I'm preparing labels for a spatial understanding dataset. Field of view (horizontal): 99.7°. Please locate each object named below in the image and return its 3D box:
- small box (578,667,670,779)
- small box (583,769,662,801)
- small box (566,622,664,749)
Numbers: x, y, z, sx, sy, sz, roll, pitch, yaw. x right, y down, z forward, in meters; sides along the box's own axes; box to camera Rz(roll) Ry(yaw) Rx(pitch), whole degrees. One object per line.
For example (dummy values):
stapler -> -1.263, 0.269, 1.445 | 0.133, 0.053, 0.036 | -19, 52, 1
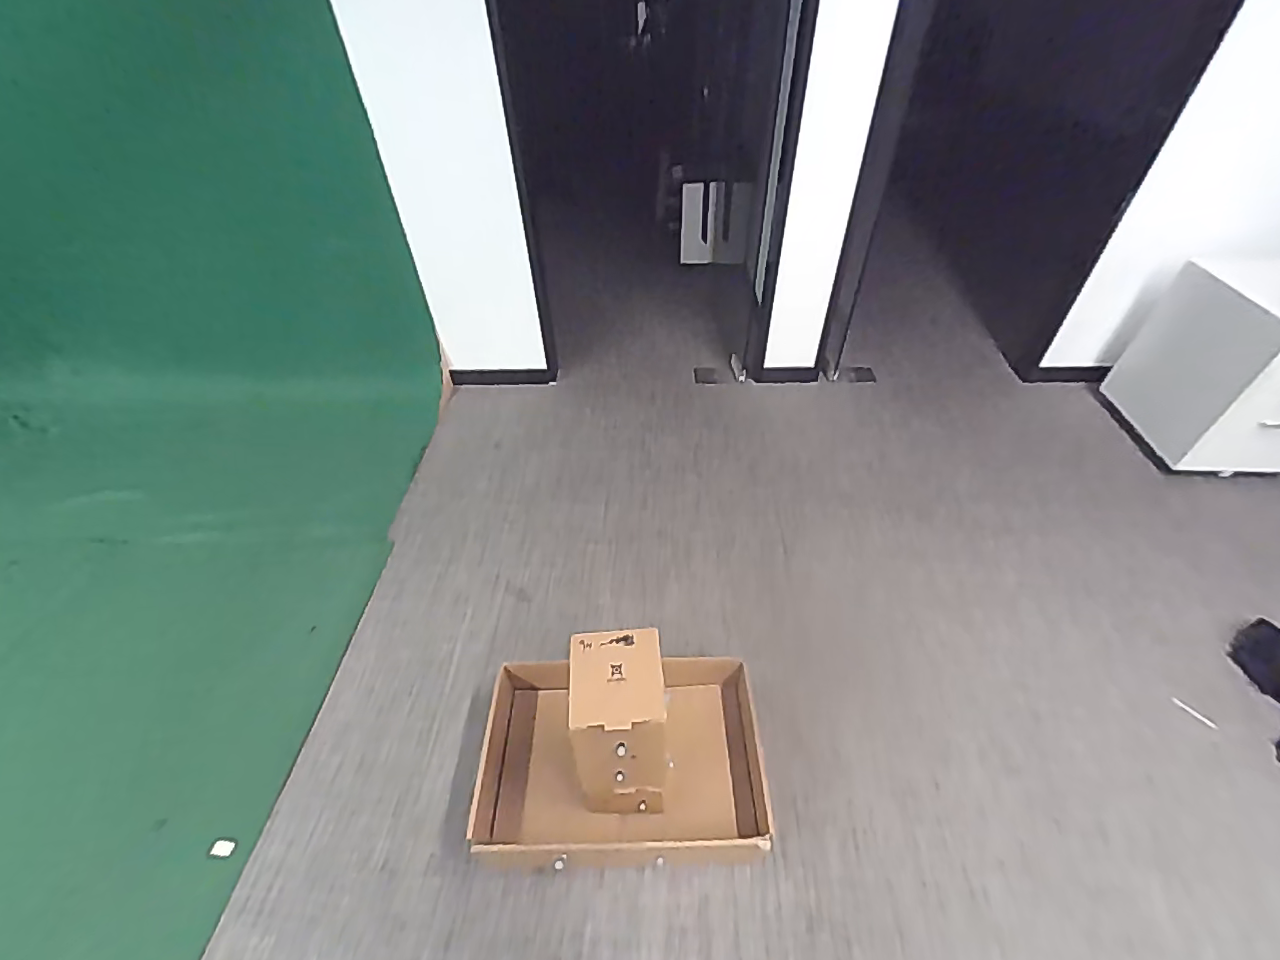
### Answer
small box -> -0.035, 0.508, 1.128 | 0.179, 0.176, 0.168 | -3, 45, -3
small box -> -0.034, 0.622, 1.245 | 0.168, 0.176, 0.179 | 0, 44, 1
small box -> -0.044, 0.390, 1.015 | 0.168, 0.176, 0.179 | -4, 45, -1
